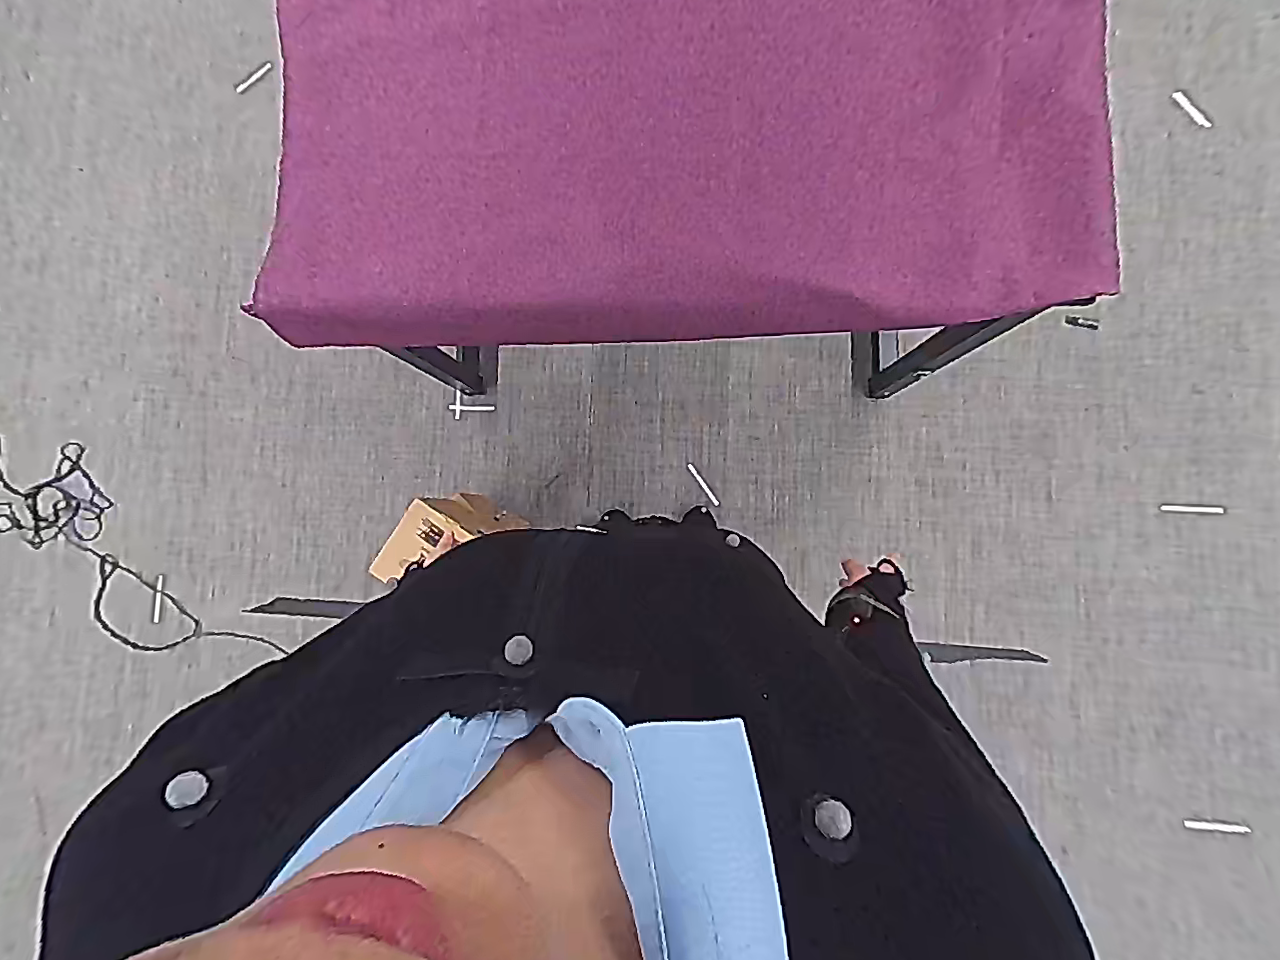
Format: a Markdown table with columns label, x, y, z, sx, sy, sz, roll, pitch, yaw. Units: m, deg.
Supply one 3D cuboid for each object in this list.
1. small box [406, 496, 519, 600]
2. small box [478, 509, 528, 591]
| label | x | y | z | sx | sy | sz | roll | pitch | yaw |
| --- | --- | --- | --- | --- | --- | --- | --- | --- | --- |
| small box | -0.409 | 0.156 | 1.289 | 0.179 | 0.176 | 0.168 | -44 | 85 | -1 |
| small box | -0.422 | 0.176 | 1.453 | 0.168 | 0.176 | 0.179 | 24 | 88 | 4 |
